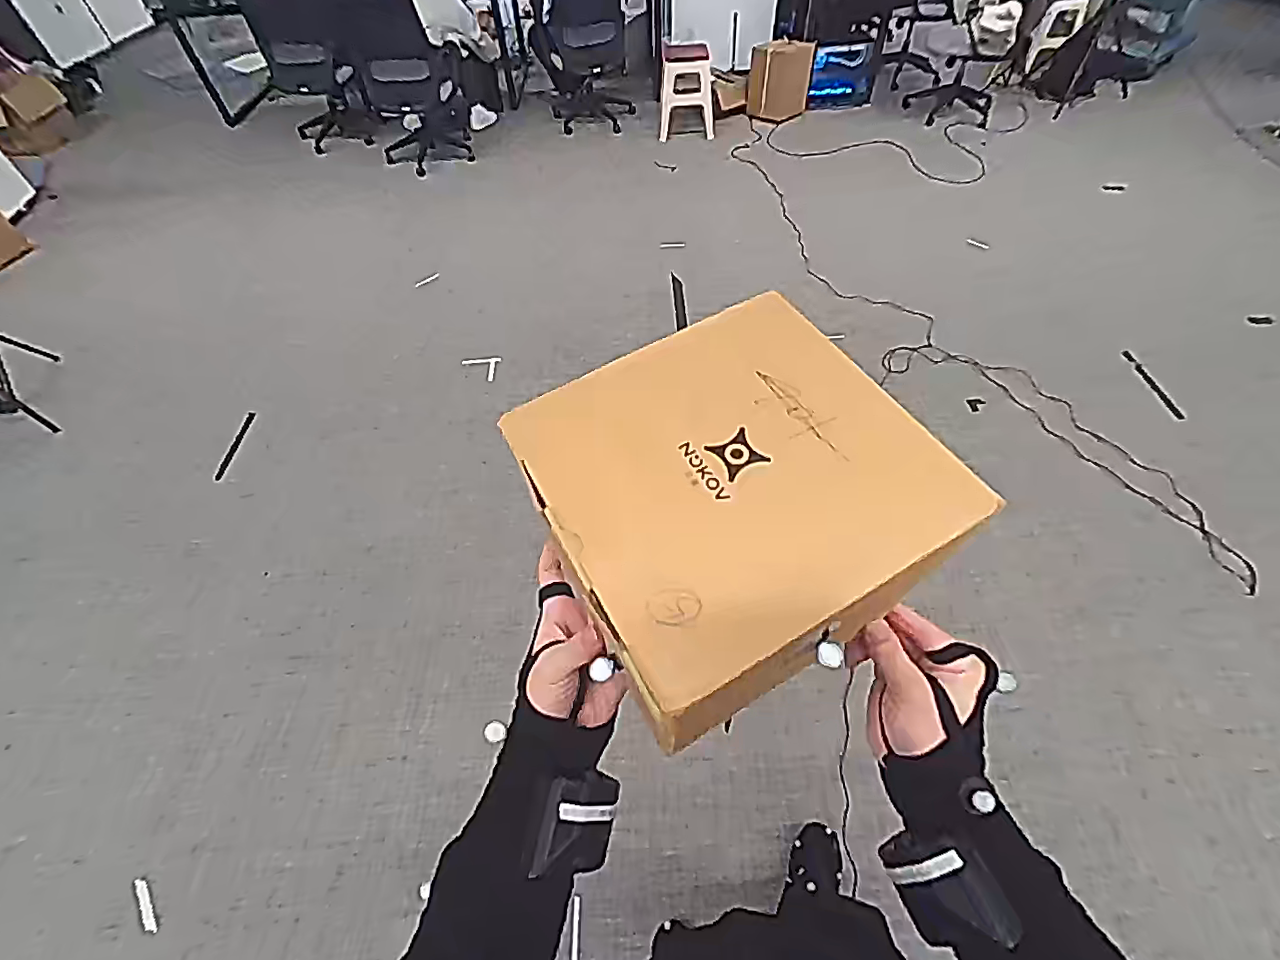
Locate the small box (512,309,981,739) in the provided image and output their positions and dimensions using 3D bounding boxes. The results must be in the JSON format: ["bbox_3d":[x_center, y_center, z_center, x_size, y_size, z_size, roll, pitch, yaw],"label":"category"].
[{"bbox_3d":[0.049,0.036,0.334,0.179,0.176,0.168,-27,62,-13],"label":"small box"}]
